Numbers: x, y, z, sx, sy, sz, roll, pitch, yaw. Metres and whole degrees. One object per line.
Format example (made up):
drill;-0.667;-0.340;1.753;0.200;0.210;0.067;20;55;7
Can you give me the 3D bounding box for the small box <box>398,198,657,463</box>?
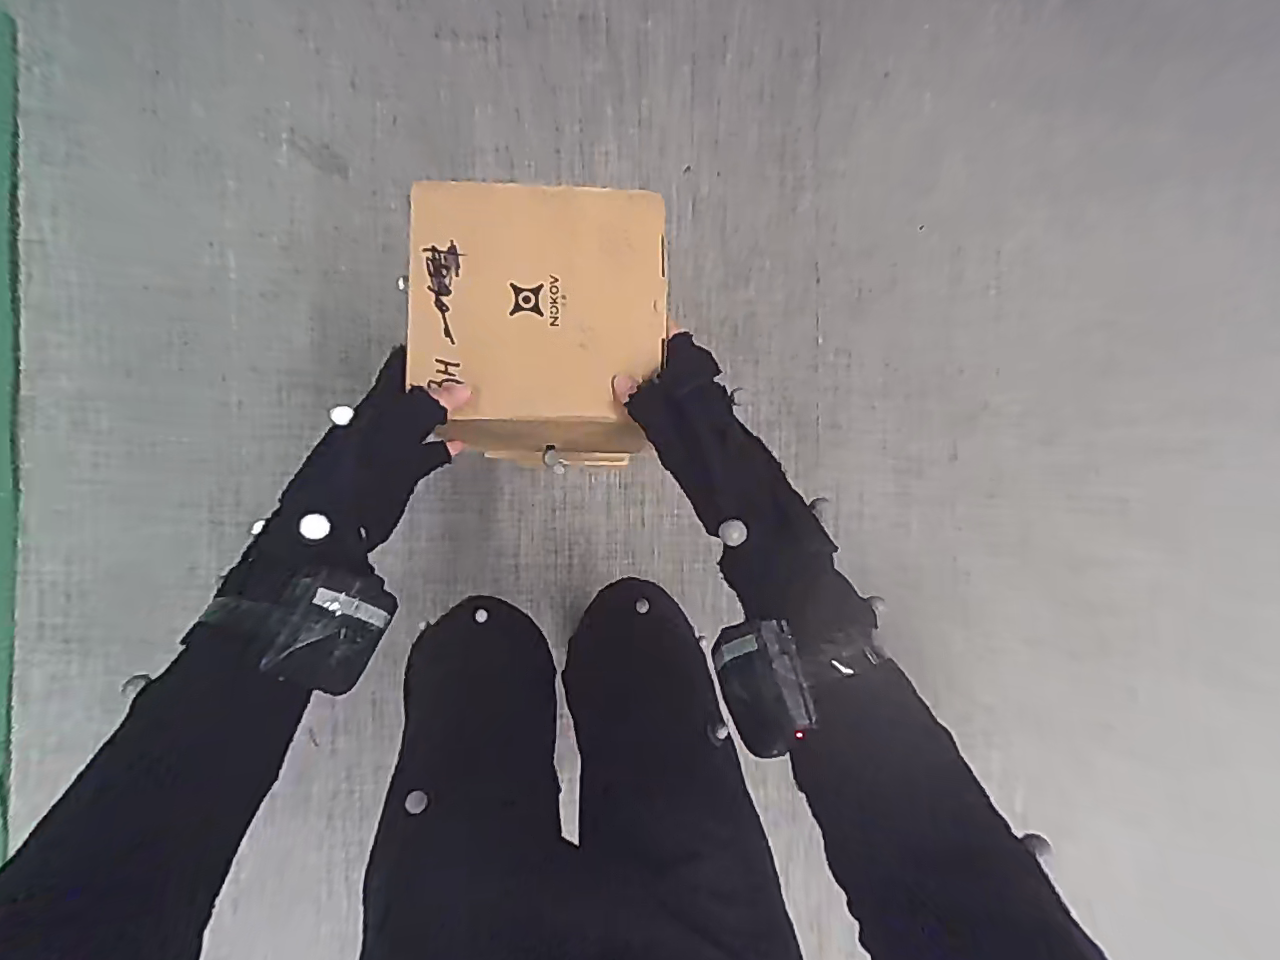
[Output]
small box;-0.083;-0.106;0.454;0.179;0.176;0.168;0;85;-5
